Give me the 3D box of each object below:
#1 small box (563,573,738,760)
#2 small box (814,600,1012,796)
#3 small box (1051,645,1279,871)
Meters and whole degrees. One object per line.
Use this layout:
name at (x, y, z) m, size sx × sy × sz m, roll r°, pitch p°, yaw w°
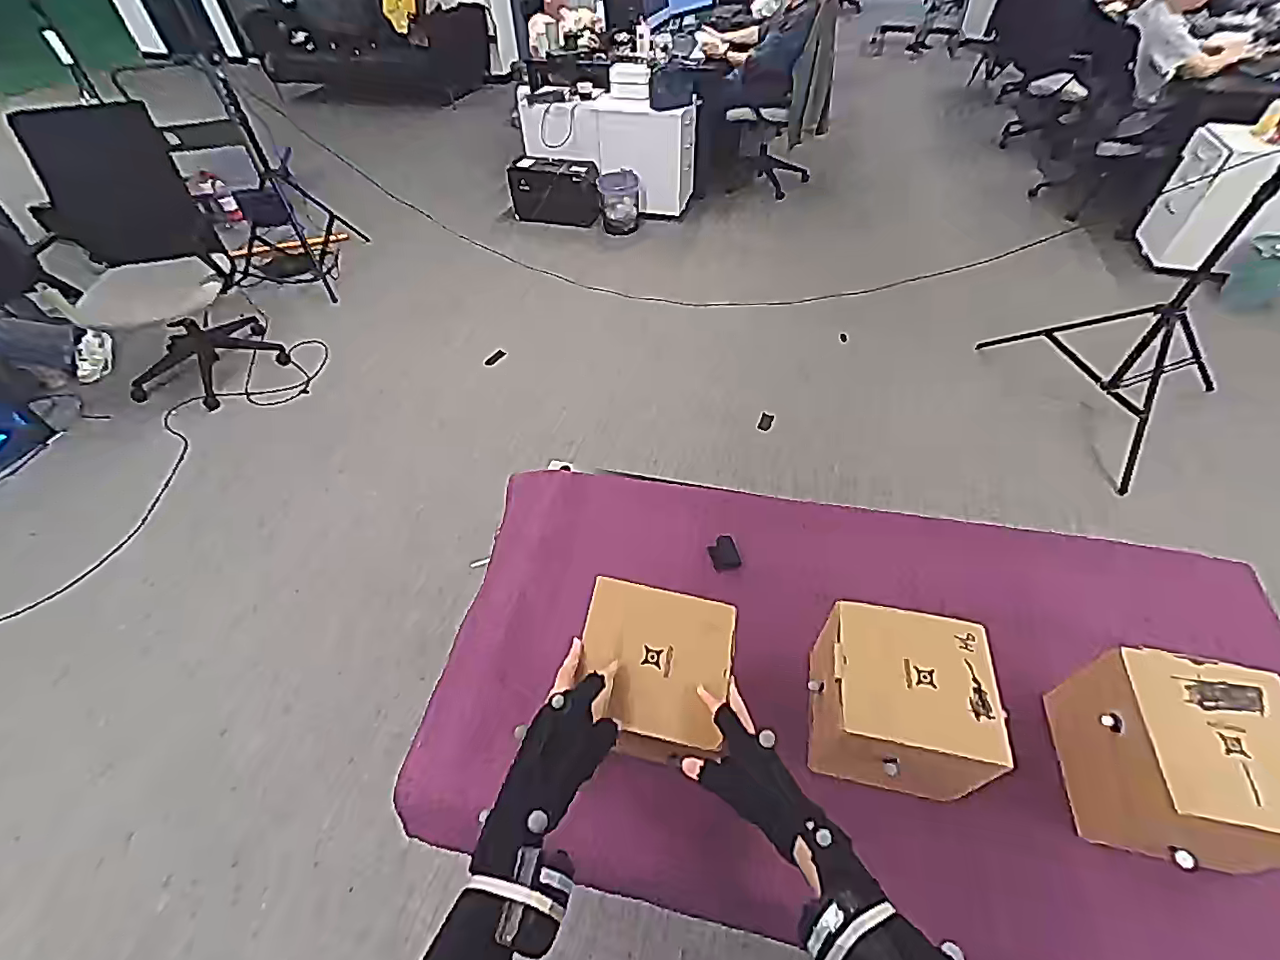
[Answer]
small box at (0.012, 0.240, 0.679) m, size 0.179 × 0.176 × 0.168 m, roll 11°, pitch 55°, yaw 3°
small box at (0.321, 0.276, 0.682) m, size 0.179 × 0.176 × 0.168 m, roll 7°, pitch 48°, yaw 10°
small box at (0.623, 0.322, 0.627) m, size 0.168 × 0.176 × 0.179 m, roll 8°, pitch 49°, yaw 10°
